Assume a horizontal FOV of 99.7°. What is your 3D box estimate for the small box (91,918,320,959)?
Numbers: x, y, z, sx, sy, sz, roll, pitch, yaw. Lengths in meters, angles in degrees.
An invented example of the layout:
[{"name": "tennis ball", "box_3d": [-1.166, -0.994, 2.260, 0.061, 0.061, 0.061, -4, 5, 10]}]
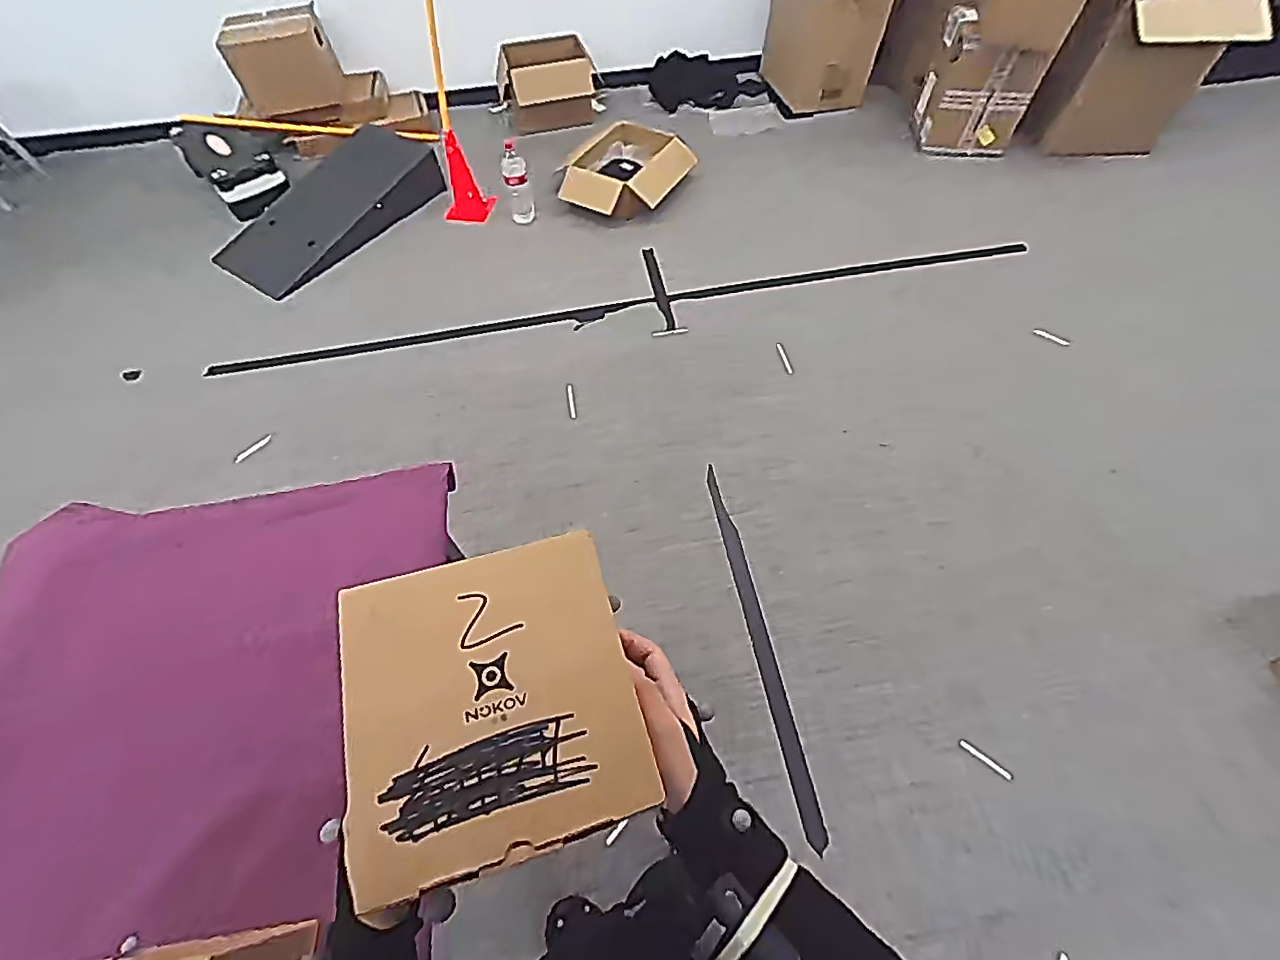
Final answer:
[{"name": "small box", "box_3d": [-0.418, 0.504, 0.465, 0.179, 0.176, 0.168, -8, 59, -3]}]
